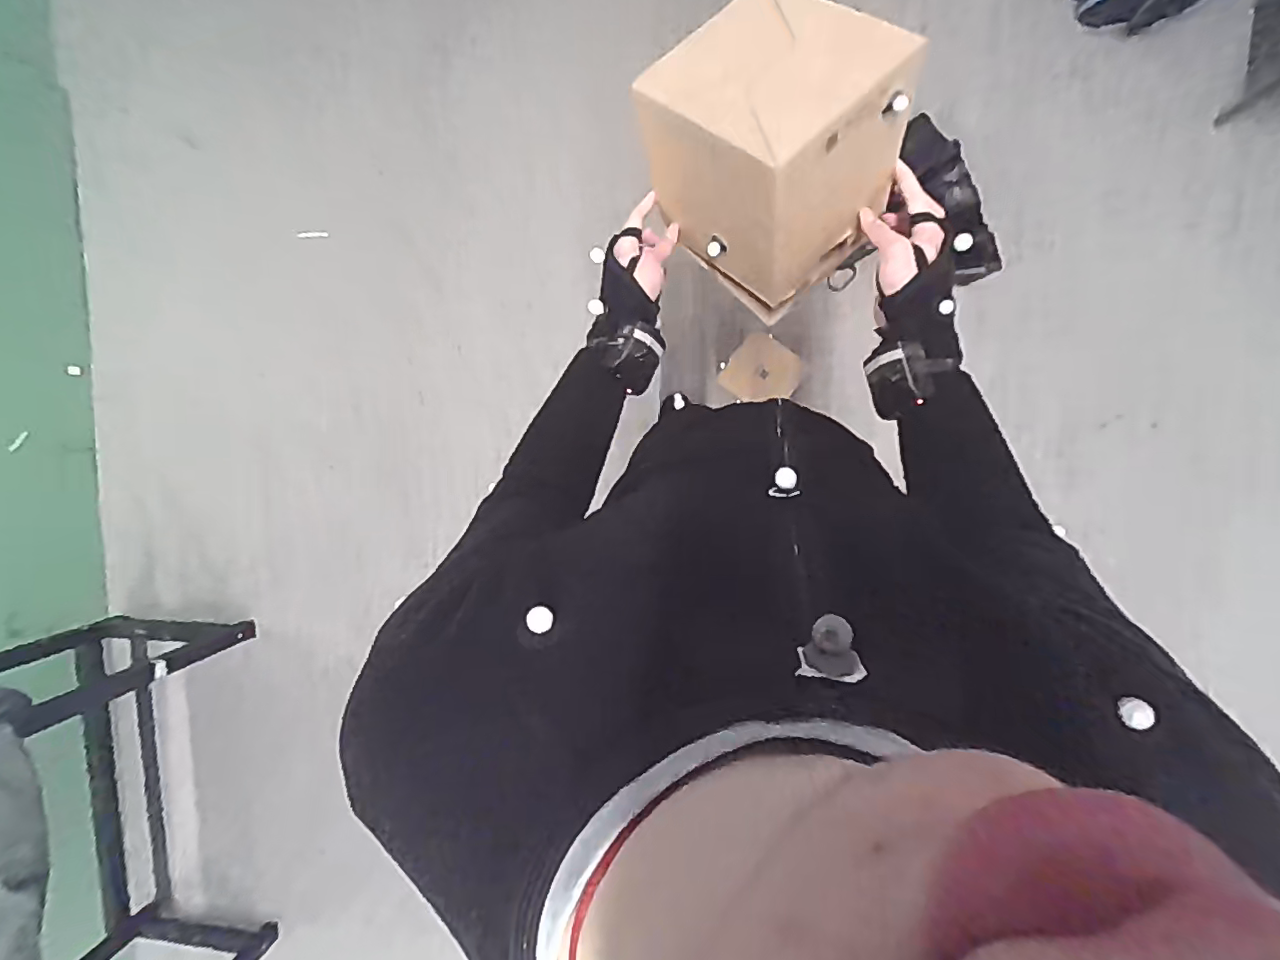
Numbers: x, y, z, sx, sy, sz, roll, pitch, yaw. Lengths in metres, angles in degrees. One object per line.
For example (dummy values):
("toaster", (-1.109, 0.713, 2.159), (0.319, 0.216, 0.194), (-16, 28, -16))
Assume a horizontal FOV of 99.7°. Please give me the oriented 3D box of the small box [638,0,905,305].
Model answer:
("small box", (0.119, -0.310, 0.507), (0.168, 0.176, 0.179), (-42, 68, -4))
